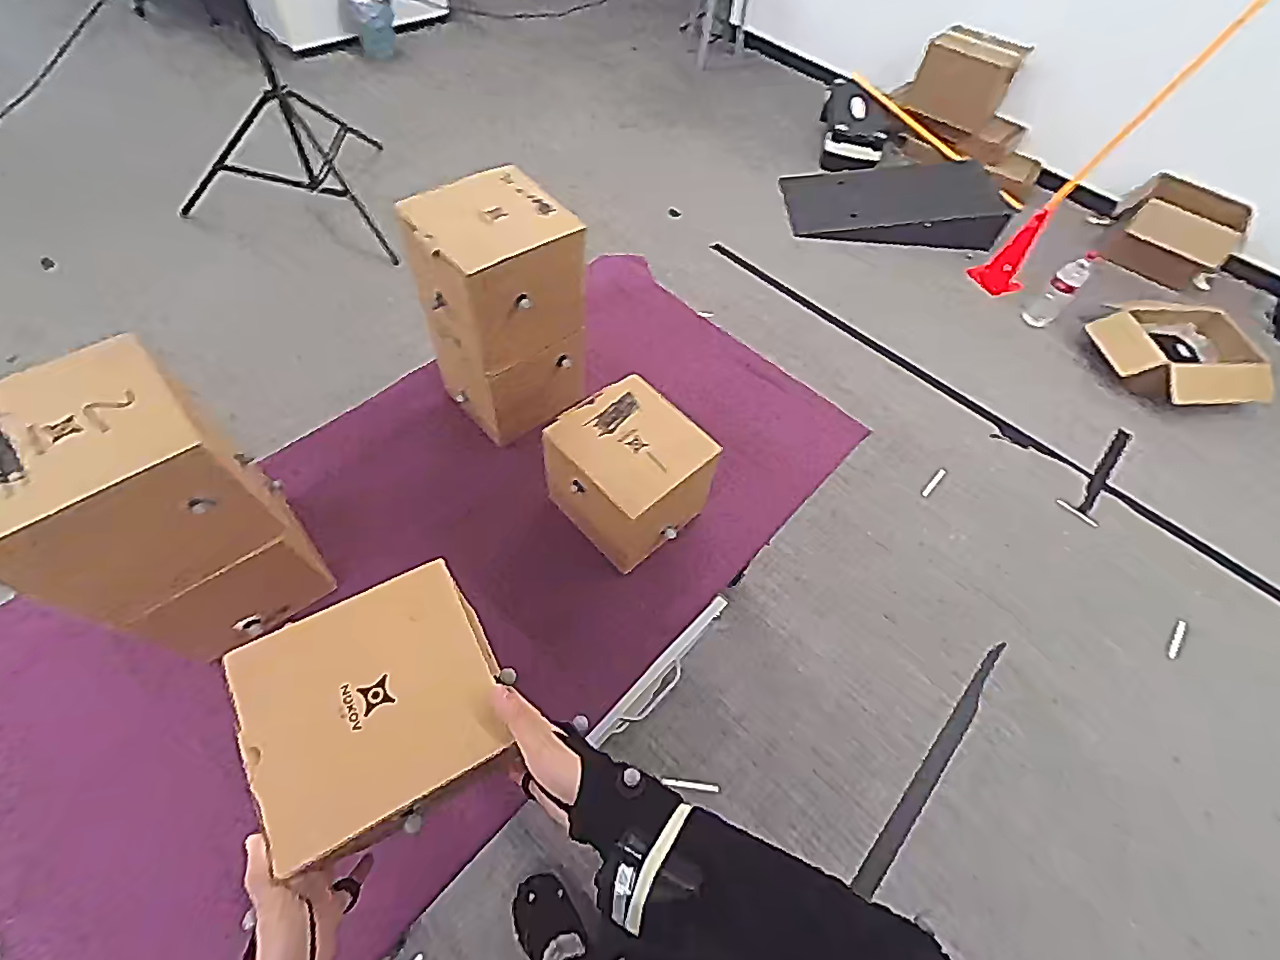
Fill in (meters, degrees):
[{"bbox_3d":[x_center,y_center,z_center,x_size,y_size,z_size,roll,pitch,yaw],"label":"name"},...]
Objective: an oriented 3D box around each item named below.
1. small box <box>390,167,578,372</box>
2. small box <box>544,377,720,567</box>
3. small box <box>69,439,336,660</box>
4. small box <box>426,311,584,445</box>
[{"bbox_3d":[-0.196,-0.279,0.732,0.179,0.176,0.168,-36,69,-24],"label":"small box"},{"bbox_3d":[-0.017,-0.007,0.774,0.168,0.176,0.179,-37,68,-25],"label":"small box"},{"bbox_3d":[-0.514,0.090,0.659,0.168,0.176,0.179,-35,70,-23],"label":"small box"},{"bbox_3d":[-0.210,-0.192,0.871,0.179,0.176,0.168,-37,69,-25],"label":"small box"}]
